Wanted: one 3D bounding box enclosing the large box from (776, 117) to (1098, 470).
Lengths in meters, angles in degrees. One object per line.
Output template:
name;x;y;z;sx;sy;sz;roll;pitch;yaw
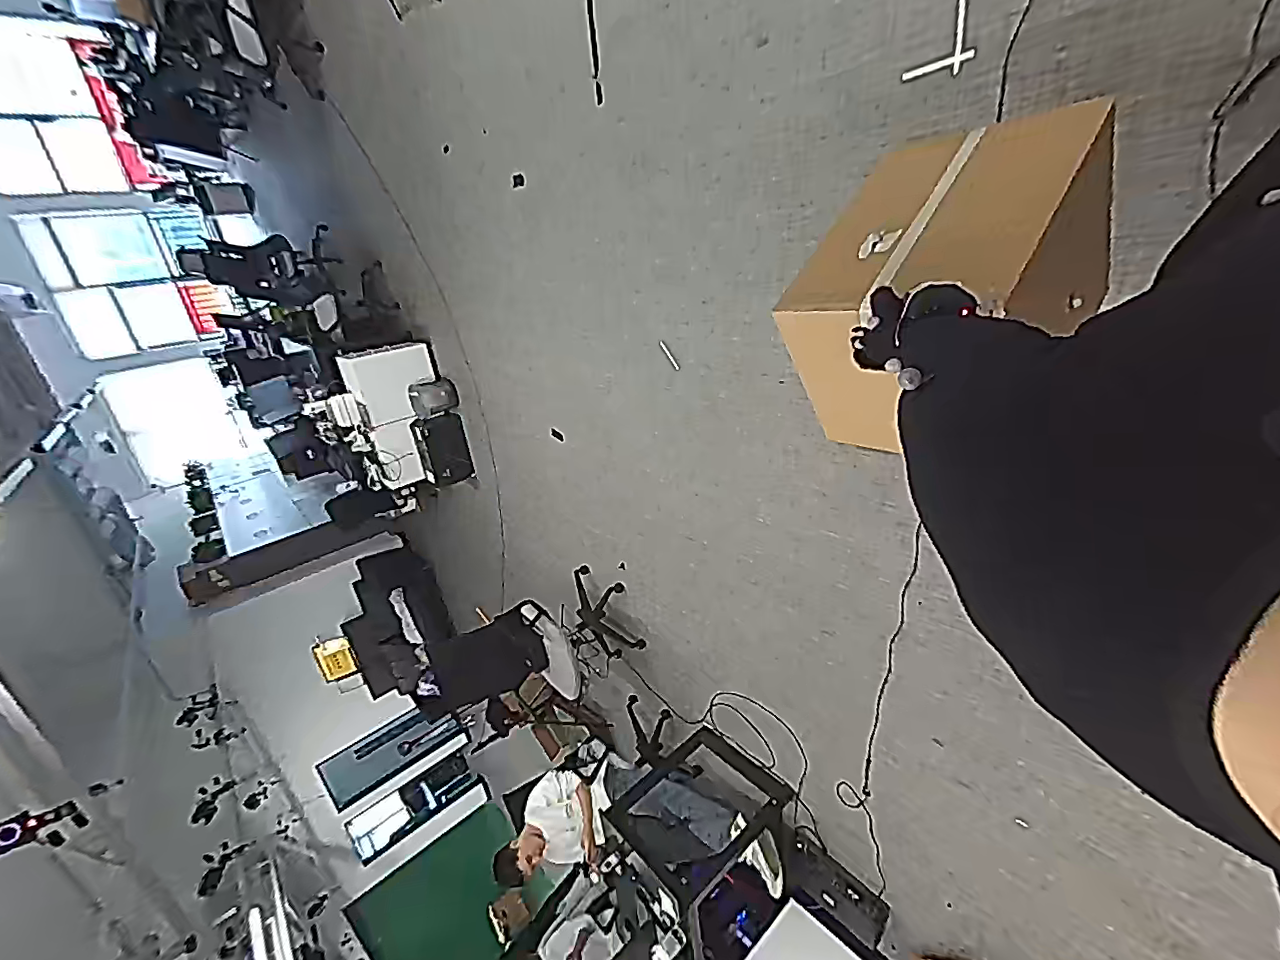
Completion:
large box;0.489;-0.284;0.875;0.320;0.408;0.320;16;154;47
